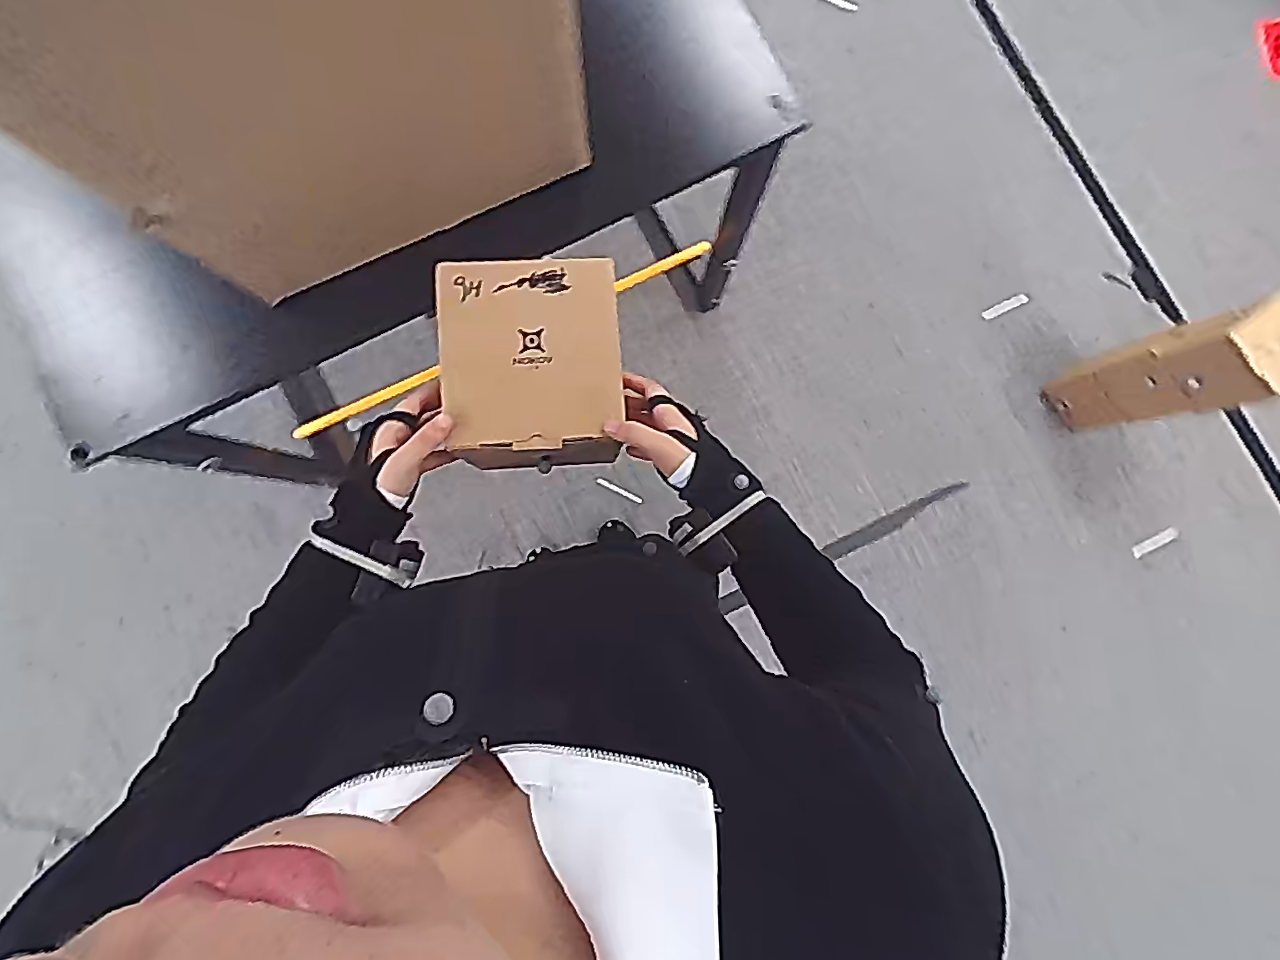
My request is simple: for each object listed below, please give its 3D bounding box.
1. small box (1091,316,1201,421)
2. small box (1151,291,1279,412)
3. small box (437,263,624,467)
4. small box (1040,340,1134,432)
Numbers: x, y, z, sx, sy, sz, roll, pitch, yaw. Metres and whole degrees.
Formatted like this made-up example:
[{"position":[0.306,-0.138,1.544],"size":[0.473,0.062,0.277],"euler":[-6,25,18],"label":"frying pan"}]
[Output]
[{"position":[1.293,-0.268,1.345],"size":[0.168,0.176,0.179],"euler":[-31,87,-4],"label":"small box"},{"position":[1.298,-0.274,1.180],"size":[0.179,0.176,0.168],"euler":[-35,86,-4],"label":"small box"},{"position":[-0.105,-0.107,0.572],"size":[0.168,0.176,0.179],"euler":[-4,86,-6],"label":"small box"},{"position":[1.283,-0.256,1.509],"size":[0.179,0.176,0.168],"euler":[-34,86,-3],"label":"small box"}]
